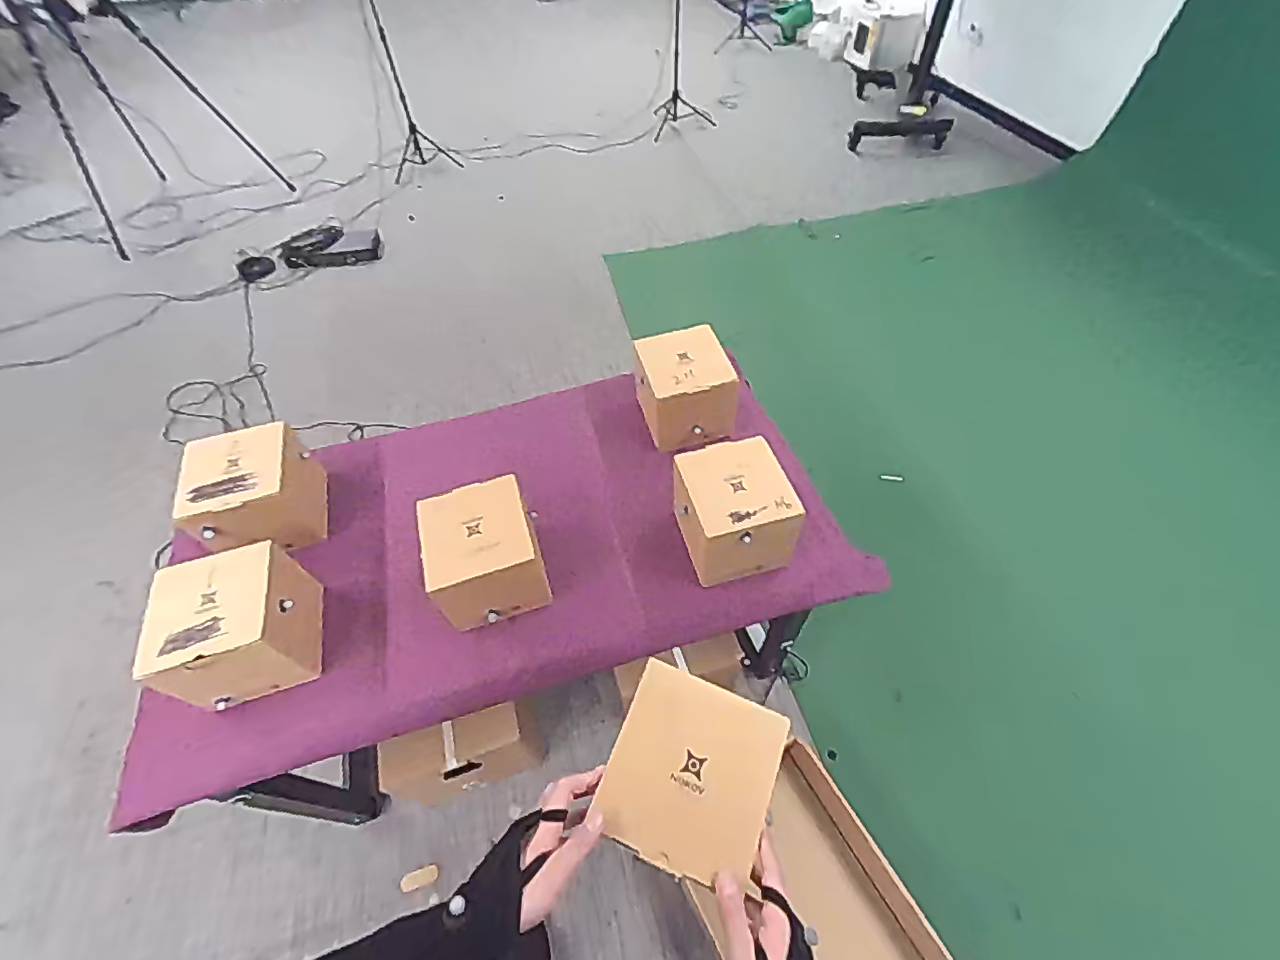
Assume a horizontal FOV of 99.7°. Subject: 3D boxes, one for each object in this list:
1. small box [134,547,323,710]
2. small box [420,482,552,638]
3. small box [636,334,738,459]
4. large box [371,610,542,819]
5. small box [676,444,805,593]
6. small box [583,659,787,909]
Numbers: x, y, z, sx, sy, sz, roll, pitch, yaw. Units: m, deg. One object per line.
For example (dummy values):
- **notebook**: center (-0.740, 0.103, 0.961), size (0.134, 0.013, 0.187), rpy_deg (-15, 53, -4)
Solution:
- **small box**: center (-0.621, 0.239, 0.844), size (0.168, 0.176, 0.179), rpy_deg (-16, 52, -11)
- **small box**: center (-0.256, 0.137, 0.913), size (0.168, 0.176, 0.179), rpy_deg (-16, 53, -9)
- **small box**: center (0.092, -0.173, 1.136), size (0.168, 0.176, 0.179), rpy_deg (-14, 54, -6)
- **large box**: center (-0.471, 0.588, 1.407), size (0.320, 0.320, 0.408), rpy_deg (-16, 52, -11)
- **small box**: center (0.164, 0.068, 0.947), size (0.168, 0.176, 0.179), rpy_deg (-14, 51, -6)
- **small box**: center (0.045, 0.333, 0.614), size (0.168, 0.176, 0.179), rpy_deg (21, 62, 8)
